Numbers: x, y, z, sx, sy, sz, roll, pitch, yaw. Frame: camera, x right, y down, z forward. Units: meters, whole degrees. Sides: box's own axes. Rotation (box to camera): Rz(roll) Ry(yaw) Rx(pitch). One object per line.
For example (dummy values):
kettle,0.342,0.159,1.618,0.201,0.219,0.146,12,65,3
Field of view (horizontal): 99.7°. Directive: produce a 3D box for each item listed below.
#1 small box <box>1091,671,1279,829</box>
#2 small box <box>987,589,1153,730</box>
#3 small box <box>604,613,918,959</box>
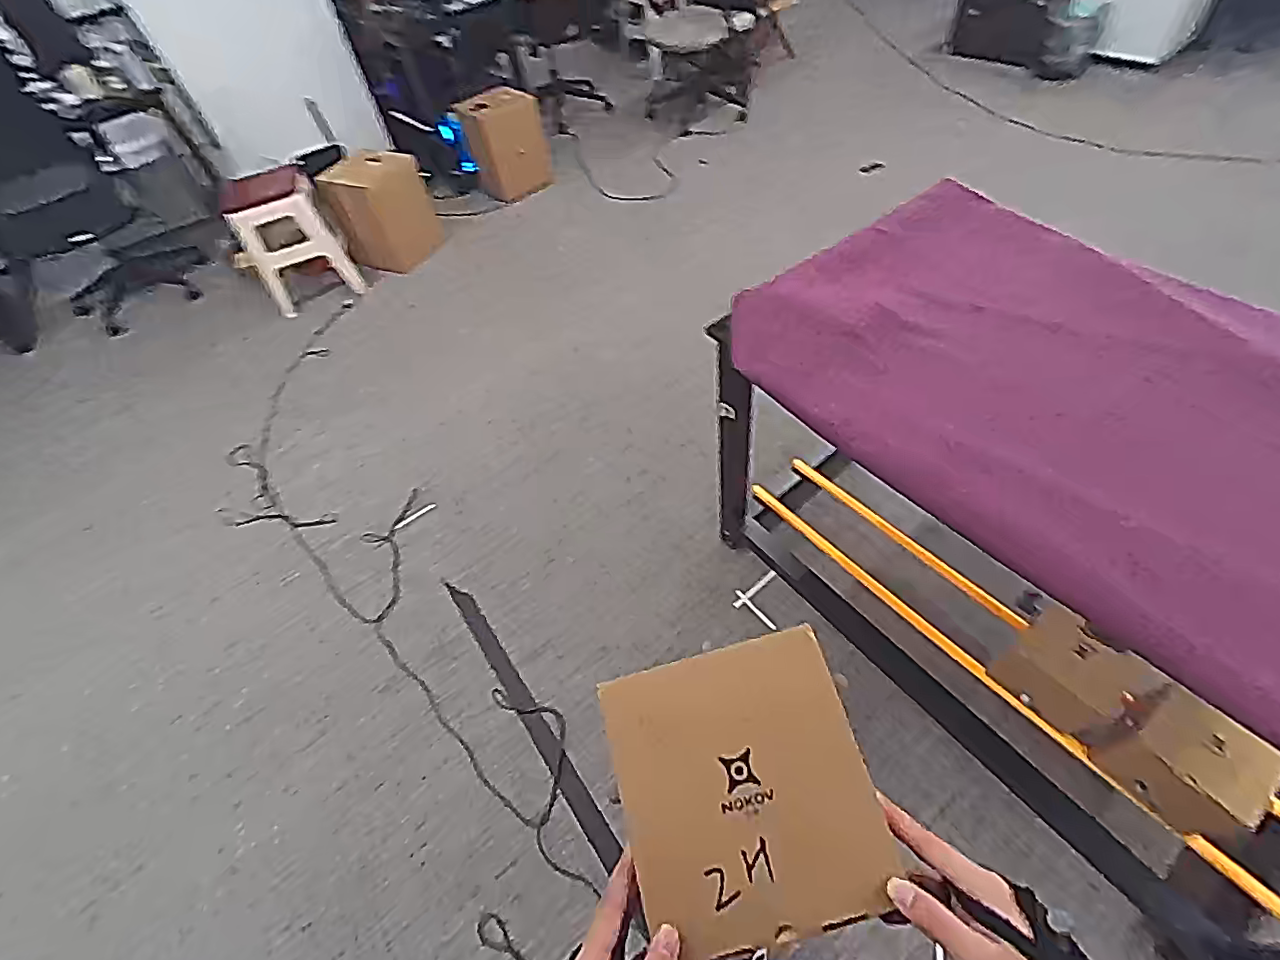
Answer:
small box,0.951,0.474,0.948,0.179,0.176,0.168,-37,56,-16
small box,0.826,0.354,1.060,0.179,0.176,0.168,-37,56,-15
small box,0.079,0.224,0.431,0.168,0.176,0.179,-16,67,1
